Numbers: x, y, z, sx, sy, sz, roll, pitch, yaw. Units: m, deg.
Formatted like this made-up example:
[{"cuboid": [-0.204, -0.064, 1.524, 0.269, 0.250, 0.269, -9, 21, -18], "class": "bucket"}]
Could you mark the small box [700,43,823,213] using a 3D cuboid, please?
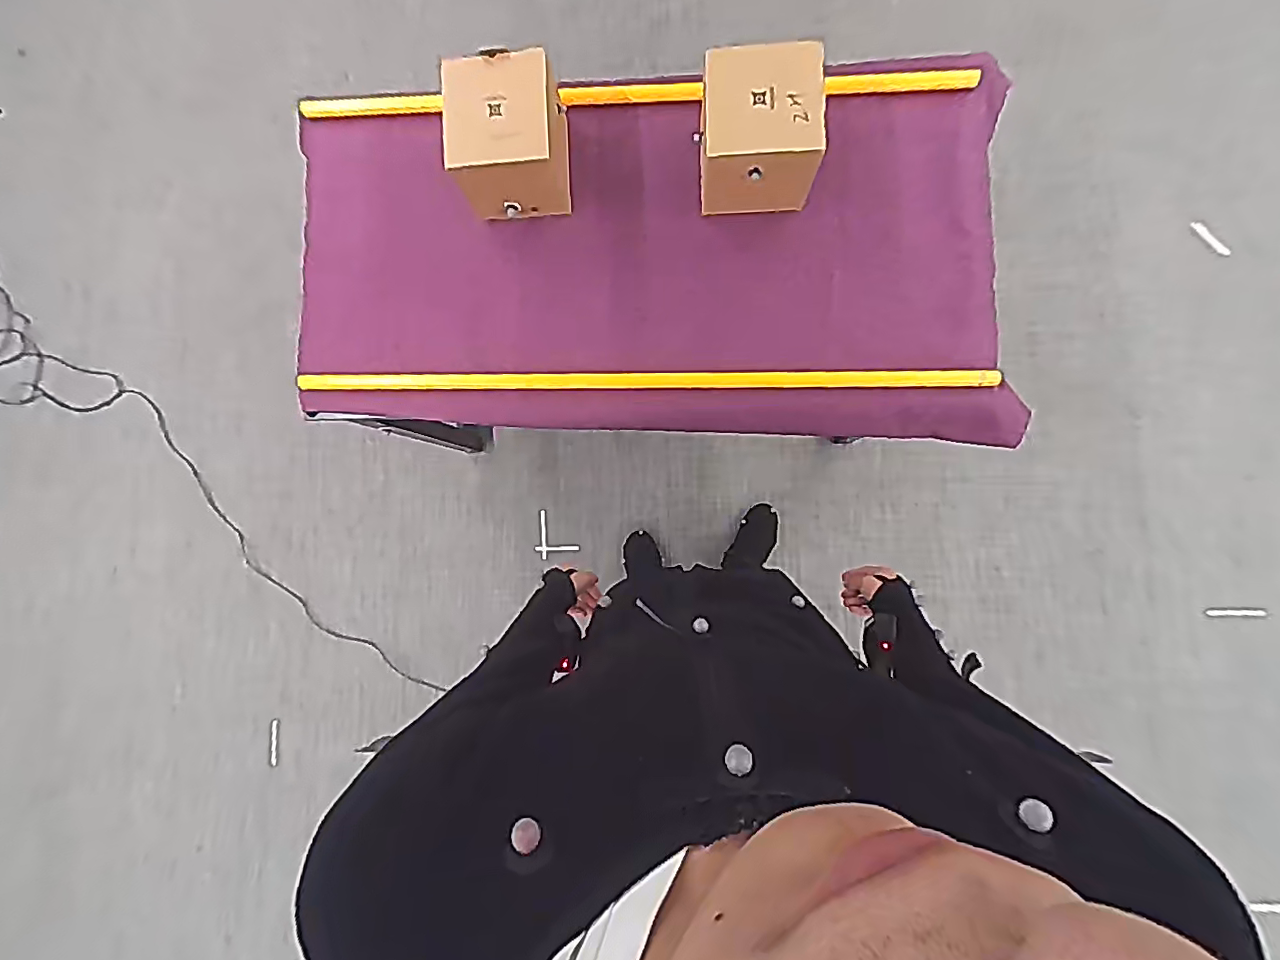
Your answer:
[{"cuboid": [0.185, -0.552, 0.870, 0.179, 0.176, 0.168, -1, 88, 4], "class": "small box"}]

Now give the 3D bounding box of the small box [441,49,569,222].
[{"cuboid": [-0.215, -0.560, 0.898, 0.168, 0.176, 0.179, -3, 88, 4], "class": "small box"}]
